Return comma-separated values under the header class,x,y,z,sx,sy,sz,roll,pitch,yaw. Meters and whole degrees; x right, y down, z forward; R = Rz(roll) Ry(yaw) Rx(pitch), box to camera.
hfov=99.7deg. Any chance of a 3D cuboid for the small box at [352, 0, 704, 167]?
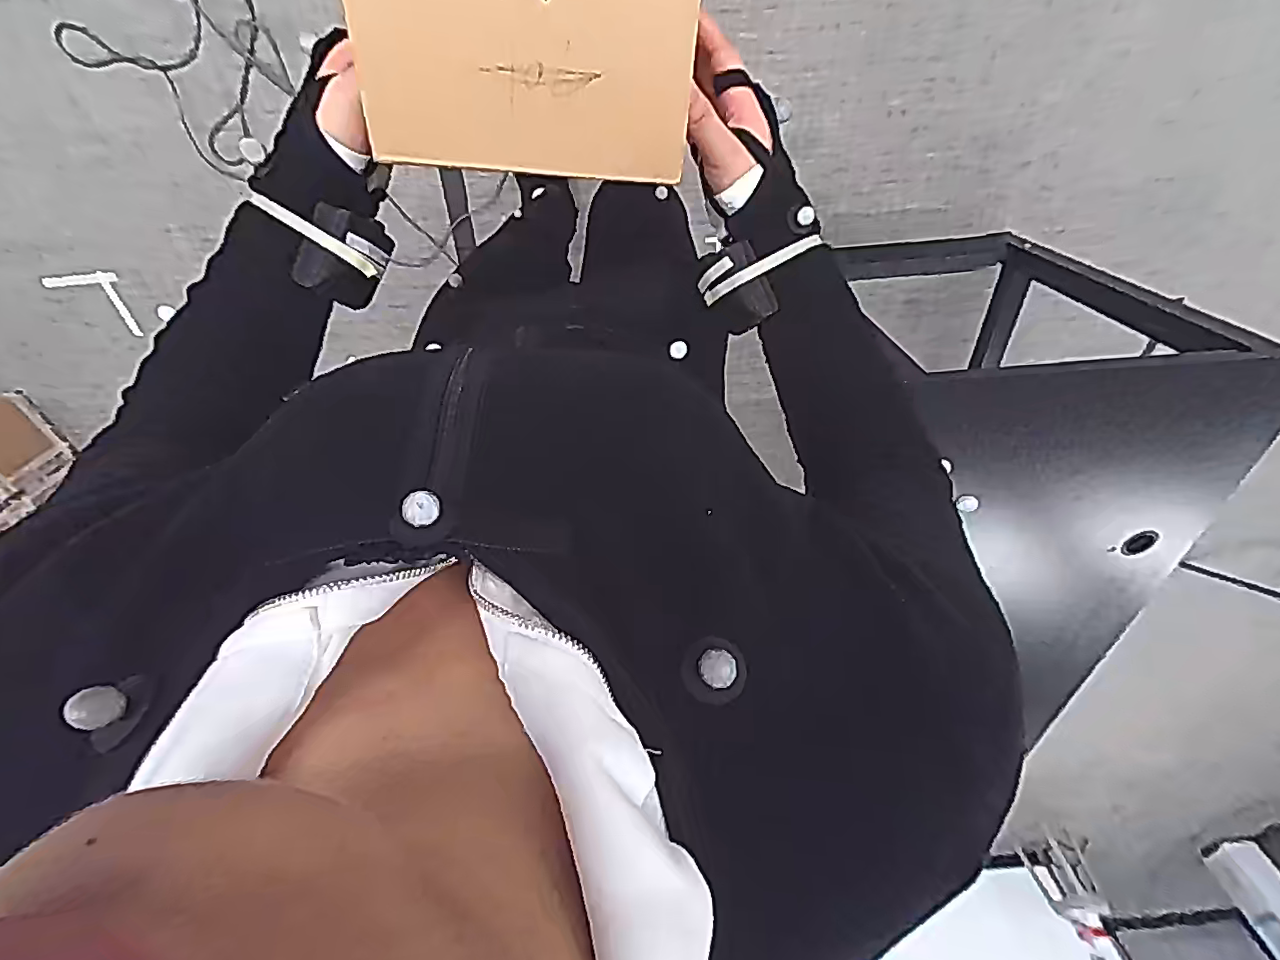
class,x,y,z,sx,sy,sz,roll,pitch,yaw
small box,-0.053,-0.293,0.300,0.168,0.176,0.179,2,130,-4
